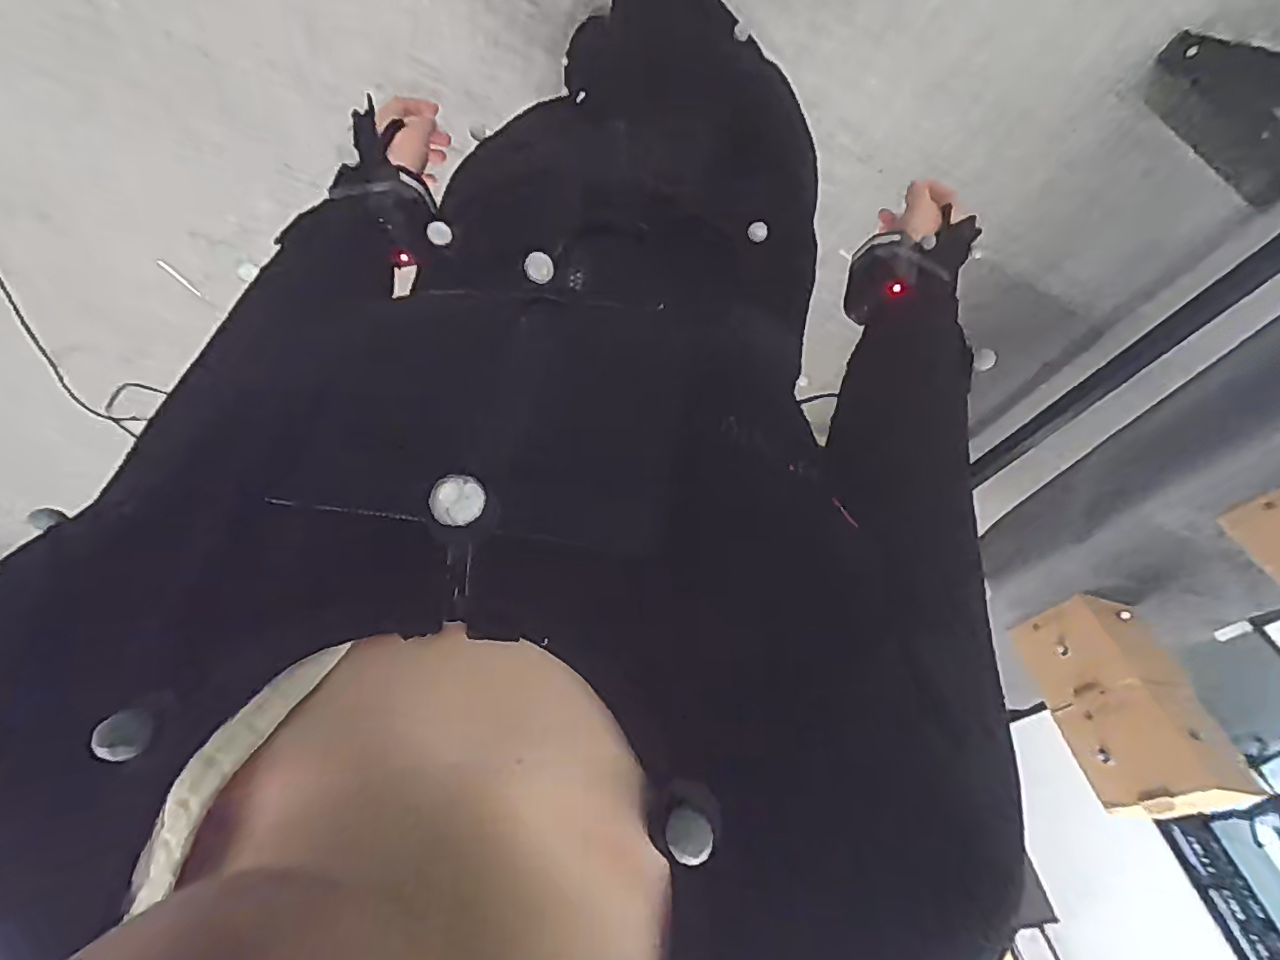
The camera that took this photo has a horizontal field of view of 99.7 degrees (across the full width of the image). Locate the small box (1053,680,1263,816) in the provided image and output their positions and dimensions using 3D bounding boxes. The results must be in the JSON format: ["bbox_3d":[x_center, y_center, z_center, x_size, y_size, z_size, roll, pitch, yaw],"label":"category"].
[{"bbox_3d":[0.872,0.461,0.931,0.179,0.176,0.168,17,134,-22],"label":"small box"}]

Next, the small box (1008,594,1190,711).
[{"bbox_3d":[0.865,0.339,1.039,0.179,0.176,0.168,15,134,-19],"label":"small box"}]

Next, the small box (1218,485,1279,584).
[{"bbox_3d":[1.021,0.093,0.786,0.179,0.176,0.168,18,133,-24],"label":"small box"}]
